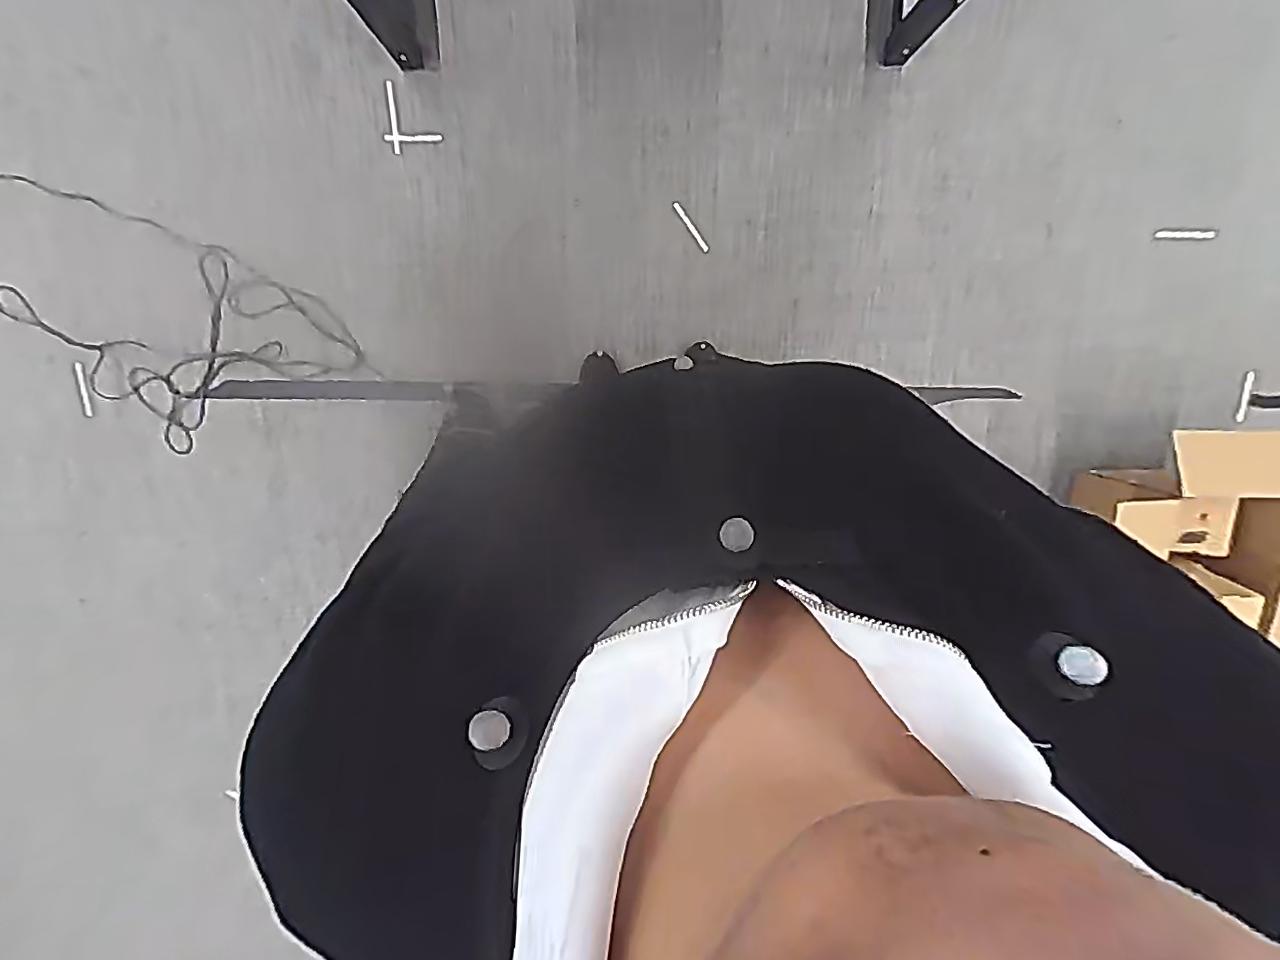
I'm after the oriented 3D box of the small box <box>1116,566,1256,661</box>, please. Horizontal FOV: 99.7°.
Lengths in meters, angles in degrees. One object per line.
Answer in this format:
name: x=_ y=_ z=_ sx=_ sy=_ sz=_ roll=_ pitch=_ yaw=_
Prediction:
small box: x=1.348 y=0.324 z=1.349 sx=0.168 sy=0.176 sz=0.179 roll=-3 pitch=107 yaw=-2
